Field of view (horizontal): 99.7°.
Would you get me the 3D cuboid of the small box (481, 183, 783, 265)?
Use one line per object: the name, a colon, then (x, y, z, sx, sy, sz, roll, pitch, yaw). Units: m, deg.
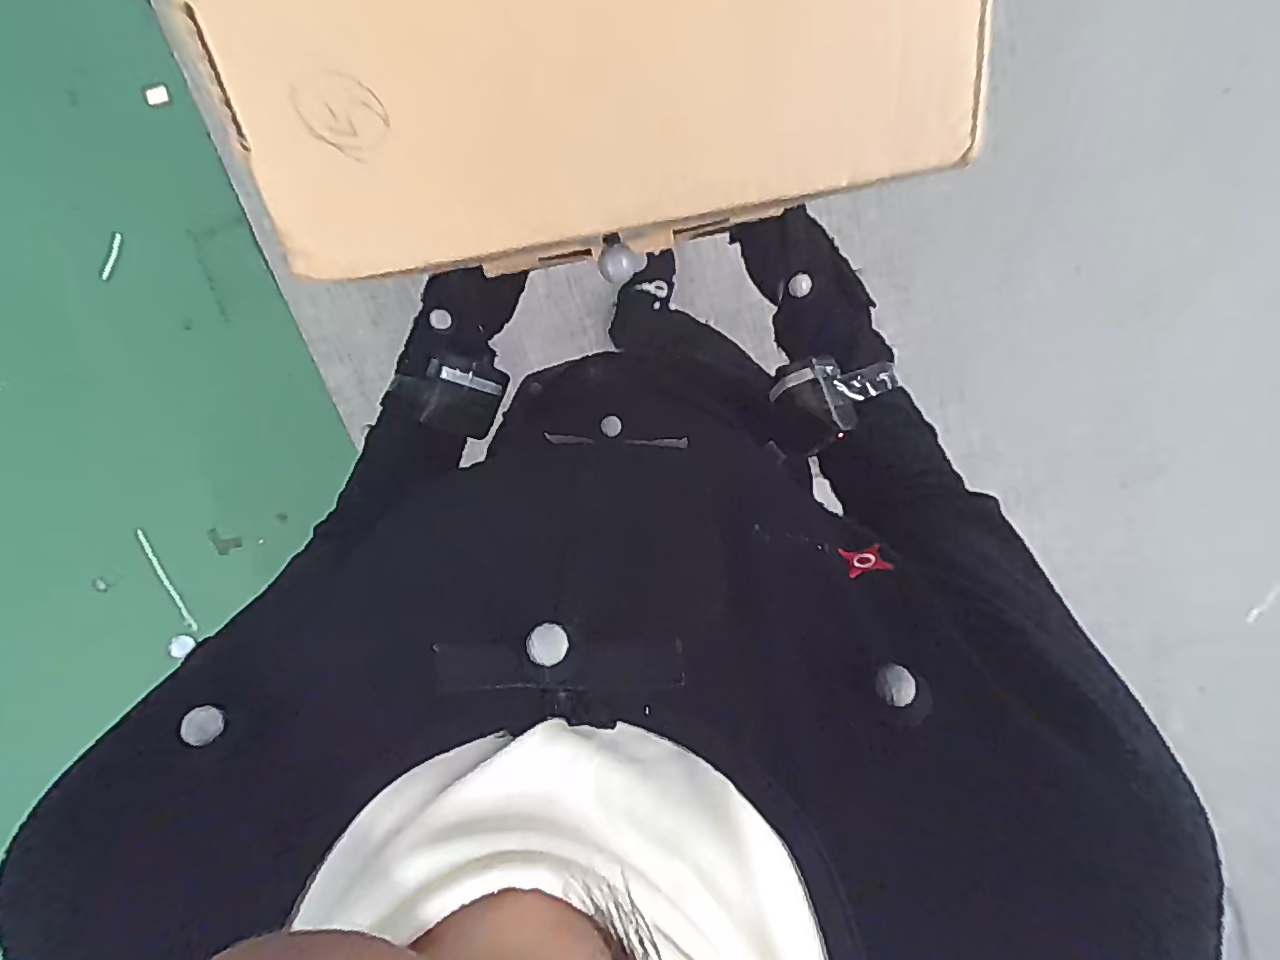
small box: (-0.019, -0.241, 0.325, 0.168, 0.176, 0.179, -10, 114, 4)

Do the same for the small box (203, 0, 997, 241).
small box: (-0.017, -0.178, 0.174, 0.179, 0.176, 0.168, -10, 115, 3)
